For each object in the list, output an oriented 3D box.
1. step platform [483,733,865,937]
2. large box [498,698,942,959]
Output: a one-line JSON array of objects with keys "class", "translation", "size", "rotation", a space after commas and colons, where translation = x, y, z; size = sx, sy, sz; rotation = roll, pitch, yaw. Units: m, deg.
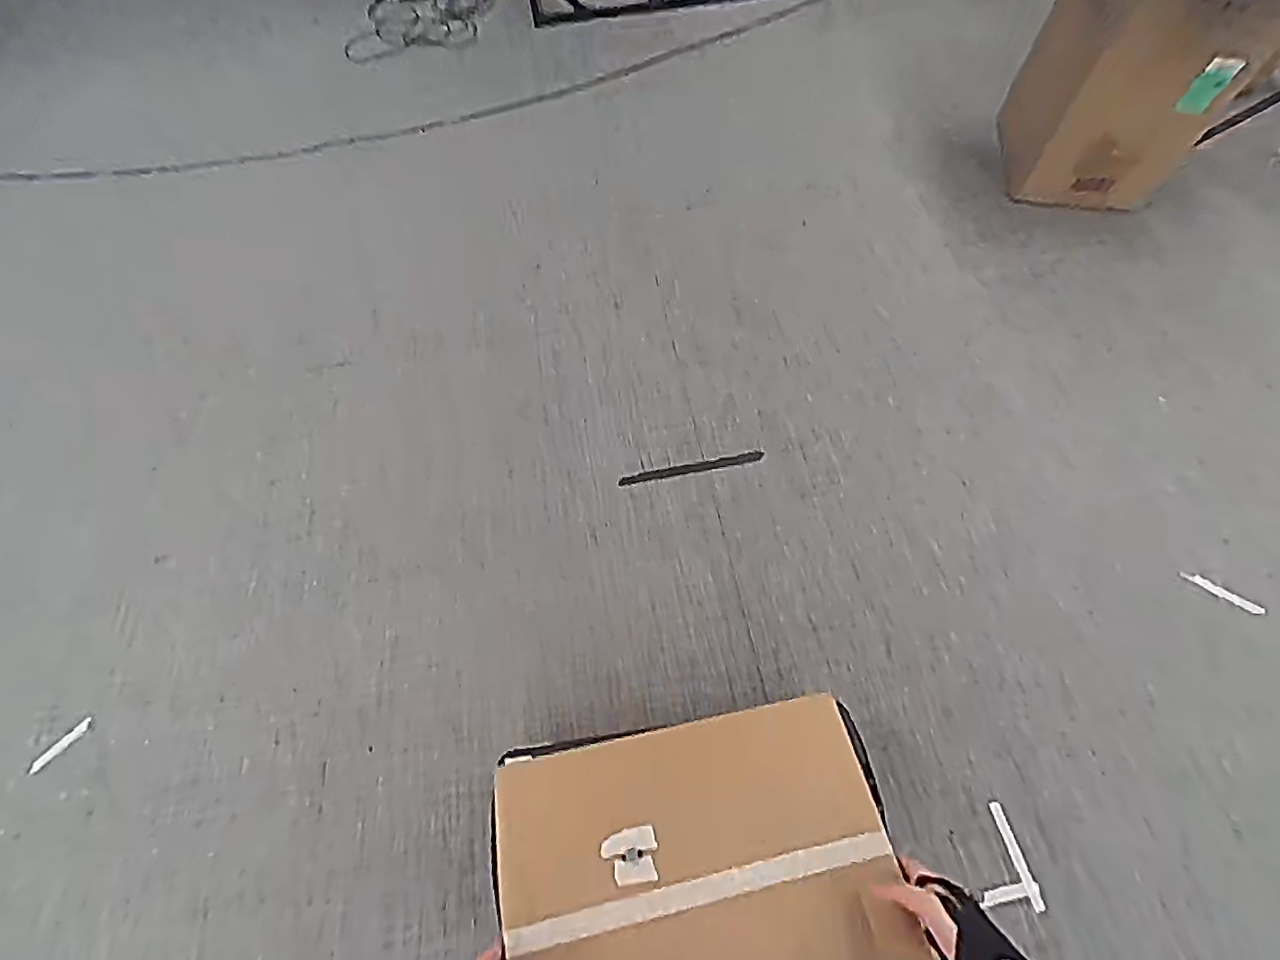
[{"class": "step platform", "translation": [0.071, 0.618, 0.979], "size": [0.684, 0.204, 0.286], "rotation": [-5, 62, 1]}, {"class": "large box", "translation": [0.075, 0.499, 0.656], "size": [0.408, 0.320, 0.320], "rotation": [-11, 56, -6]}]
